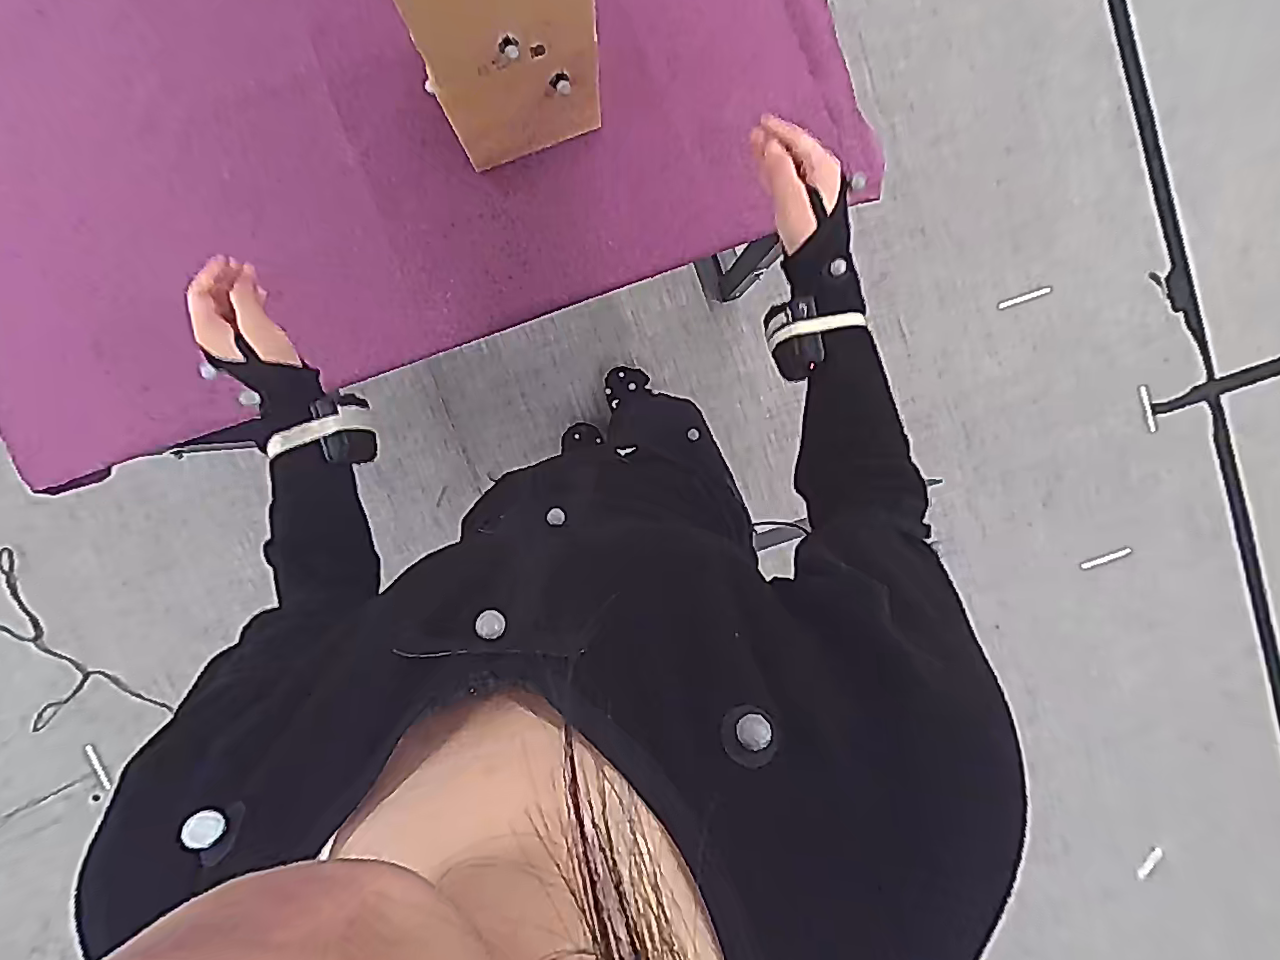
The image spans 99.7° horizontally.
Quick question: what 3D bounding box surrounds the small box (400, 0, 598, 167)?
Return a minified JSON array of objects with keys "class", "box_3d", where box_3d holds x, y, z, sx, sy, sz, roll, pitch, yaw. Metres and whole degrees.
[{"class":"small box","box_3d":[-0.155,-0.499,0.616,0.179,0.176,0.168,-21,96,0]}]
